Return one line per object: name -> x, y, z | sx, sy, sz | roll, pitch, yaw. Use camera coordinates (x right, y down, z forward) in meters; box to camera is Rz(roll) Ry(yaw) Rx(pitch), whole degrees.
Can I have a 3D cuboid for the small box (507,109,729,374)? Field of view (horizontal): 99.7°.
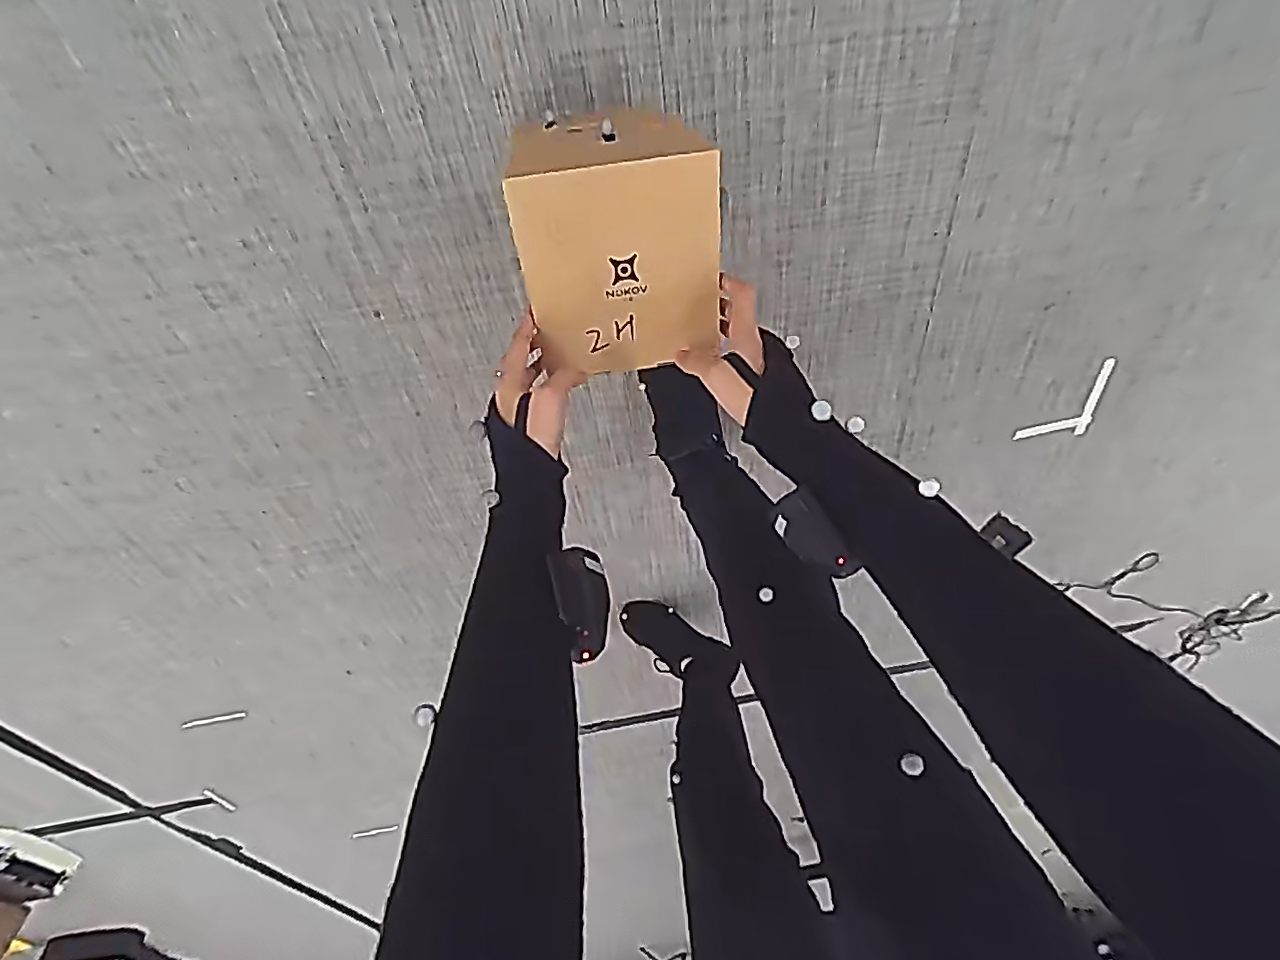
small box -> -0.020, -0.224, 0.498 | 0.168, 0.176, 0.179 | -9, 133, -2
